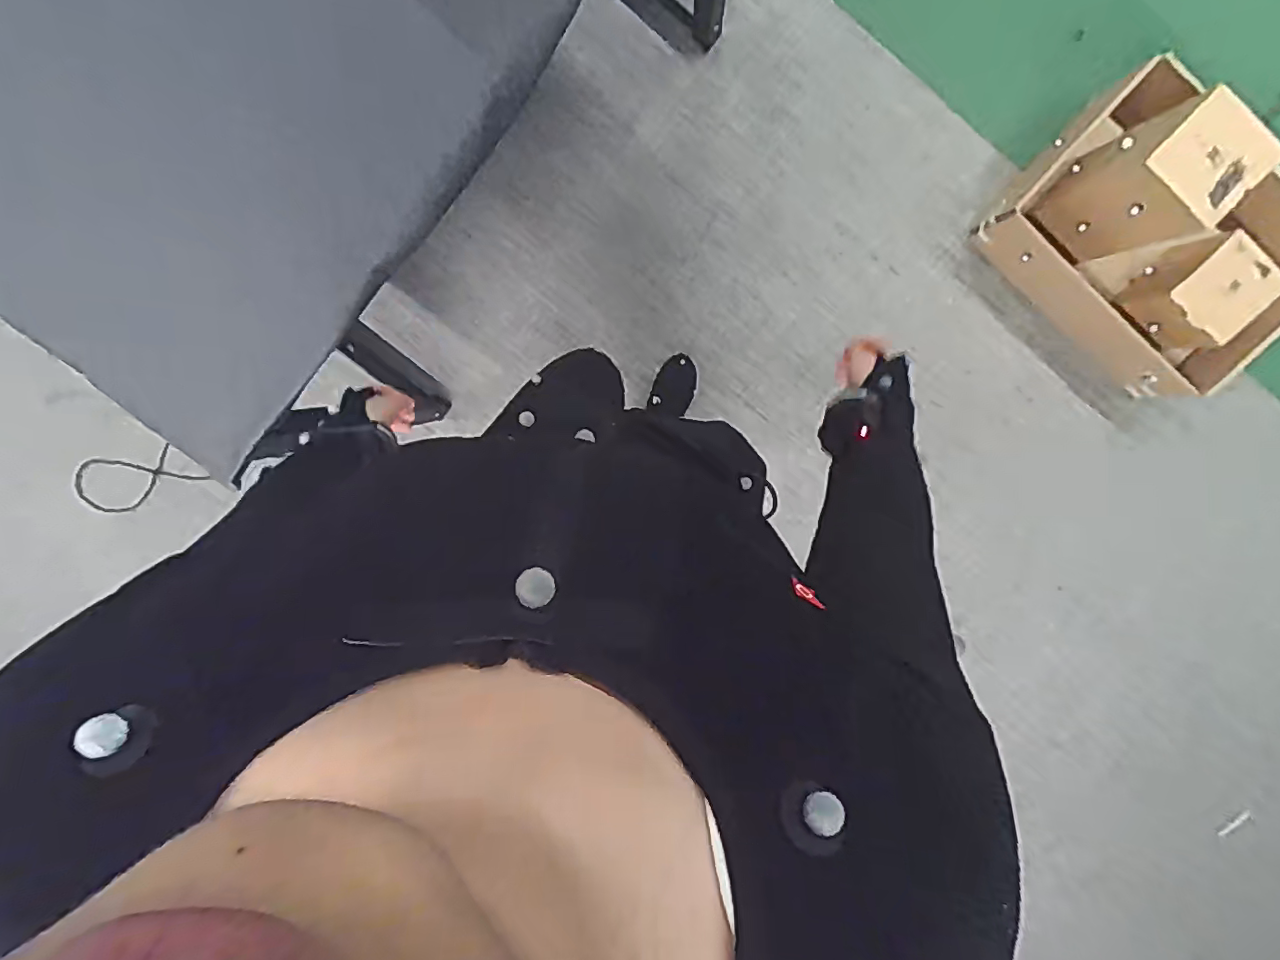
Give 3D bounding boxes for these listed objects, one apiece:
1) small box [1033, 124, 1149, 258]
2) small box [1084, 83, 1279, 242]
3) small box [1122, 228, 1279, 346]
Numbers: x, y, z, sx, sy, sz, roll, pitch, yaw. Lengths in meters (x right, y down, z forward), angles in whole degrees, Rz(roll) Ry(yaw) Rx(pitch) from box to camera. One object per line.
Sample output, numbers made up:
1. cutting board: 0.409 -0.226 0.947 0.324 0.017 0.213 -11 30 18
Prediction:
1. small box: 1.011 -0.606 1.165 0.179 0.176 0.168 40 102 -6
2. small box: 1.000 -0.569 1.005 0.179 0.176 0.168 41 101 -5
3. small box: 1.232 -0.412 1.194 0.168 0.176 0.179 42 102 -5
